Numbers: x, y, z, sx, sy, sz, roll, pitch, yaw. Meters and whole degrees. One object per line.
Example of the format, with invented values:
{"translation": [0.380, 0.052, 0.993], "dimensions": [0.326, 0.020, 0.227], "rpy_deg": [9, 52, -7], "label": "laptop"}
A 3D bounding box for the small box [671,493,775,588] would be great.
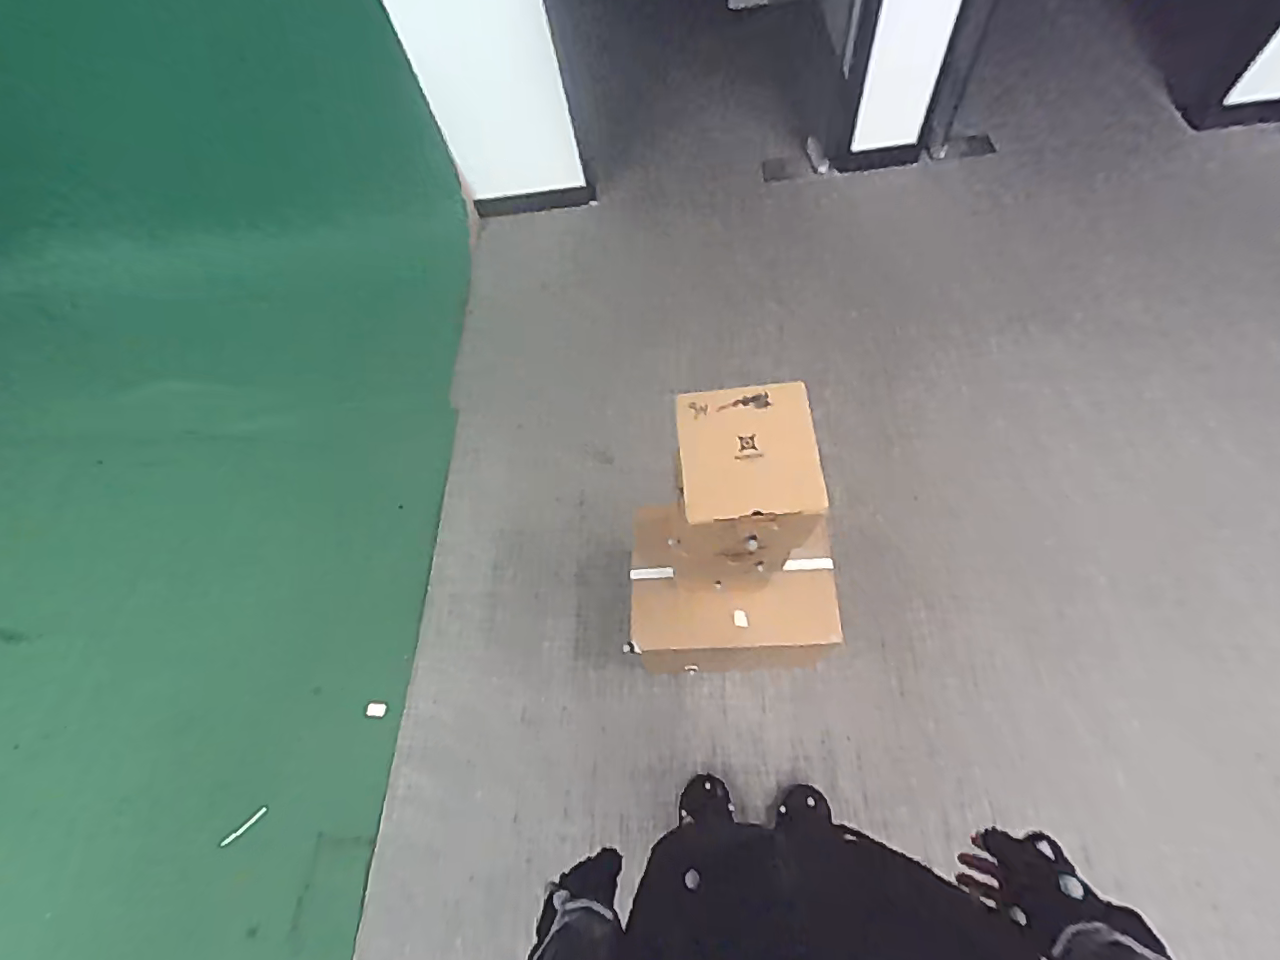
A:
{"translation": [0.154, 0.112, 1.041], "dimensions": [0.179, 0.176, 0.168], "rpy_deg": [-4, 70, 6], "label": "small box"}

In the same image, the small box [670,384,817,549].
{"translation": [0.134, -0.007, 0.738], "dimensions": [0.168, 0.176, 0.179], "rpy_deg": [-6, 70, 5], "label": "small box"}

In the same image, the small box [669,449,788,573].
{"translation": [0.140, 0.052, 0.891], "dimensions": [0.168, 0.176, 0.179], "rpy_deg": [-6, 68, 5], "label": "small box"}
